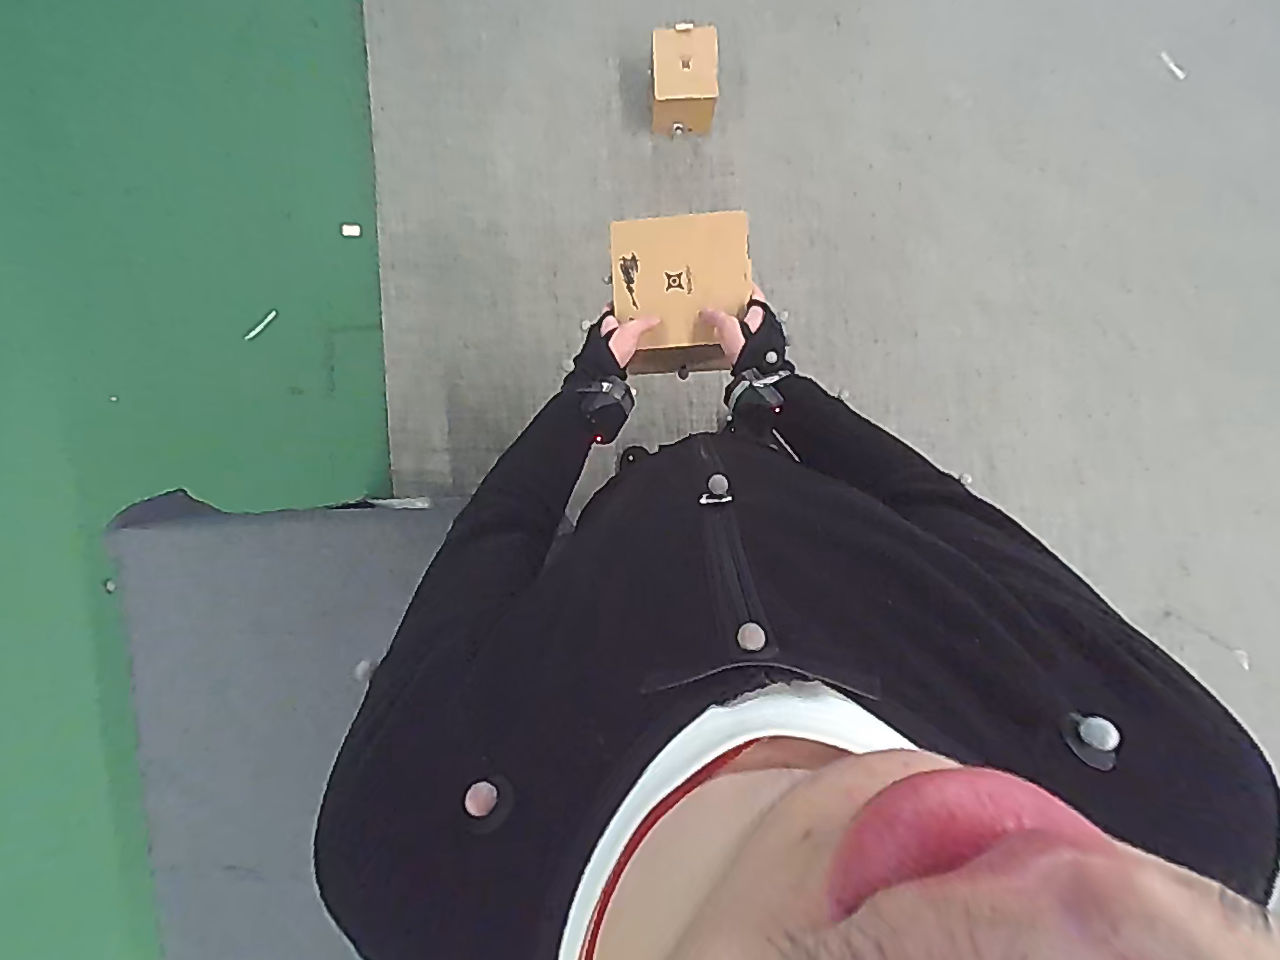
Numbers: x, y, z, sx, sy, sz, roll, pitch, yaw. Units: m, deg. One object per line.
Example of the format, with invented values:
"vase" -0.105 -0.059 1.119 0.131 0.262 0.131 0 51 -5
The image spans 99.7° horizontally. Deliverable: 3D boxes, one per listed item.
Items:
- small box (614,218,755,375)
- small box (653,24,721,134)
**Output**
"small box" 0.057 -0.247 0.761 0.179 0.176 0.168 -2 90 2
"small box" 0.119 -1.053 1.429 0.168 0.176 0.179 0 93 1
